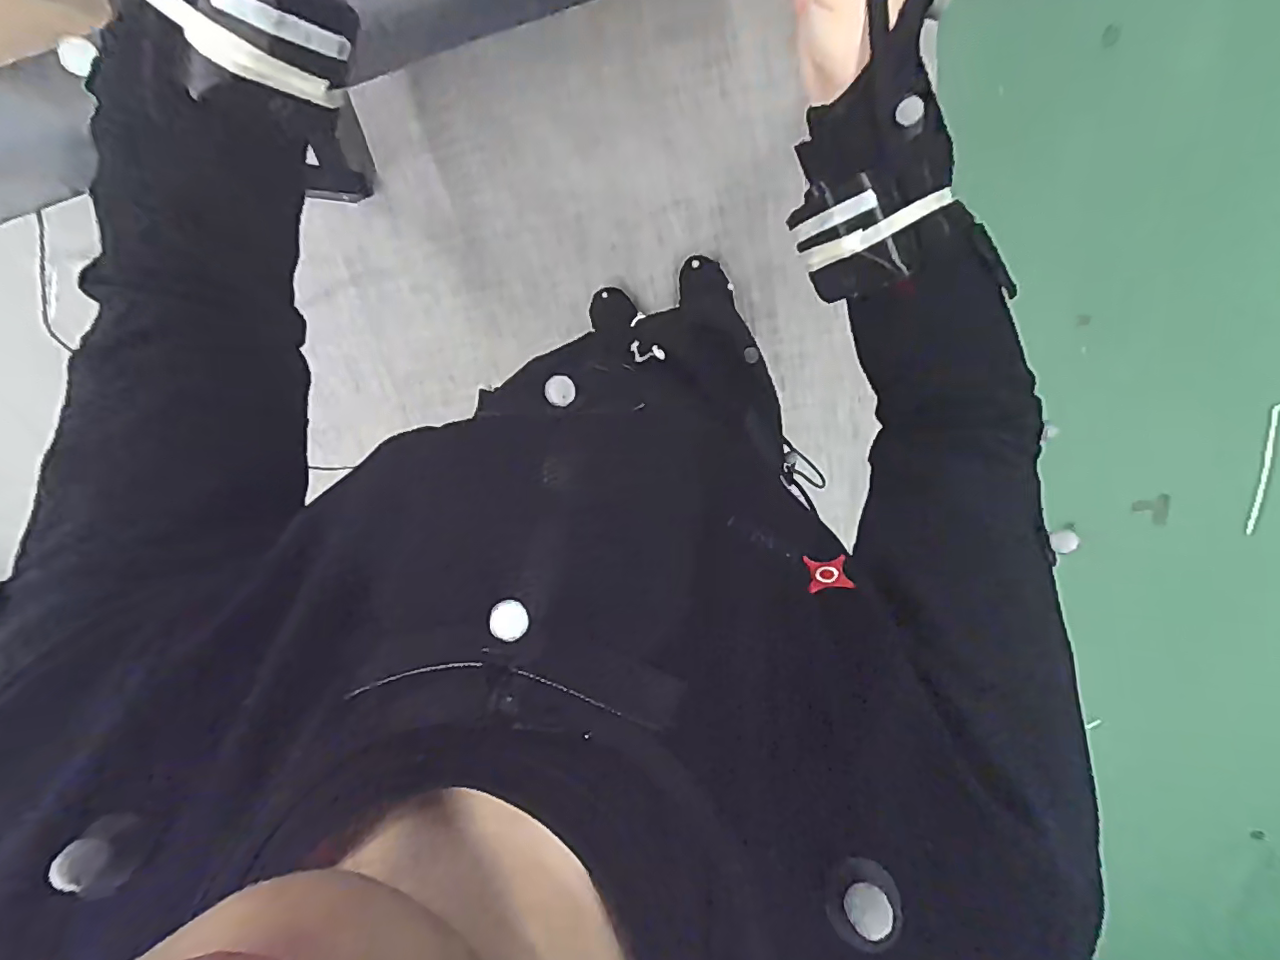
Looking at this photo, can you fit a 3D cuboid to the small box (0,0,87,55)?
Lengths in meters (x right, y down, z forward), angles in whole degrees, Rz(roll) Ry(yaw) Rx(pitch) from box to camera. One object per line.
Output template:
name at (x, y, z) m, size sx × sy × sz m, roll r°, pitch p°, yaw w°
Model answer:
small box at (-0.605, -0.469, 0.423) m, size 0.179 × 0.176 × 0.168 m, roll -7°, pitch 110°, yaw 11°
